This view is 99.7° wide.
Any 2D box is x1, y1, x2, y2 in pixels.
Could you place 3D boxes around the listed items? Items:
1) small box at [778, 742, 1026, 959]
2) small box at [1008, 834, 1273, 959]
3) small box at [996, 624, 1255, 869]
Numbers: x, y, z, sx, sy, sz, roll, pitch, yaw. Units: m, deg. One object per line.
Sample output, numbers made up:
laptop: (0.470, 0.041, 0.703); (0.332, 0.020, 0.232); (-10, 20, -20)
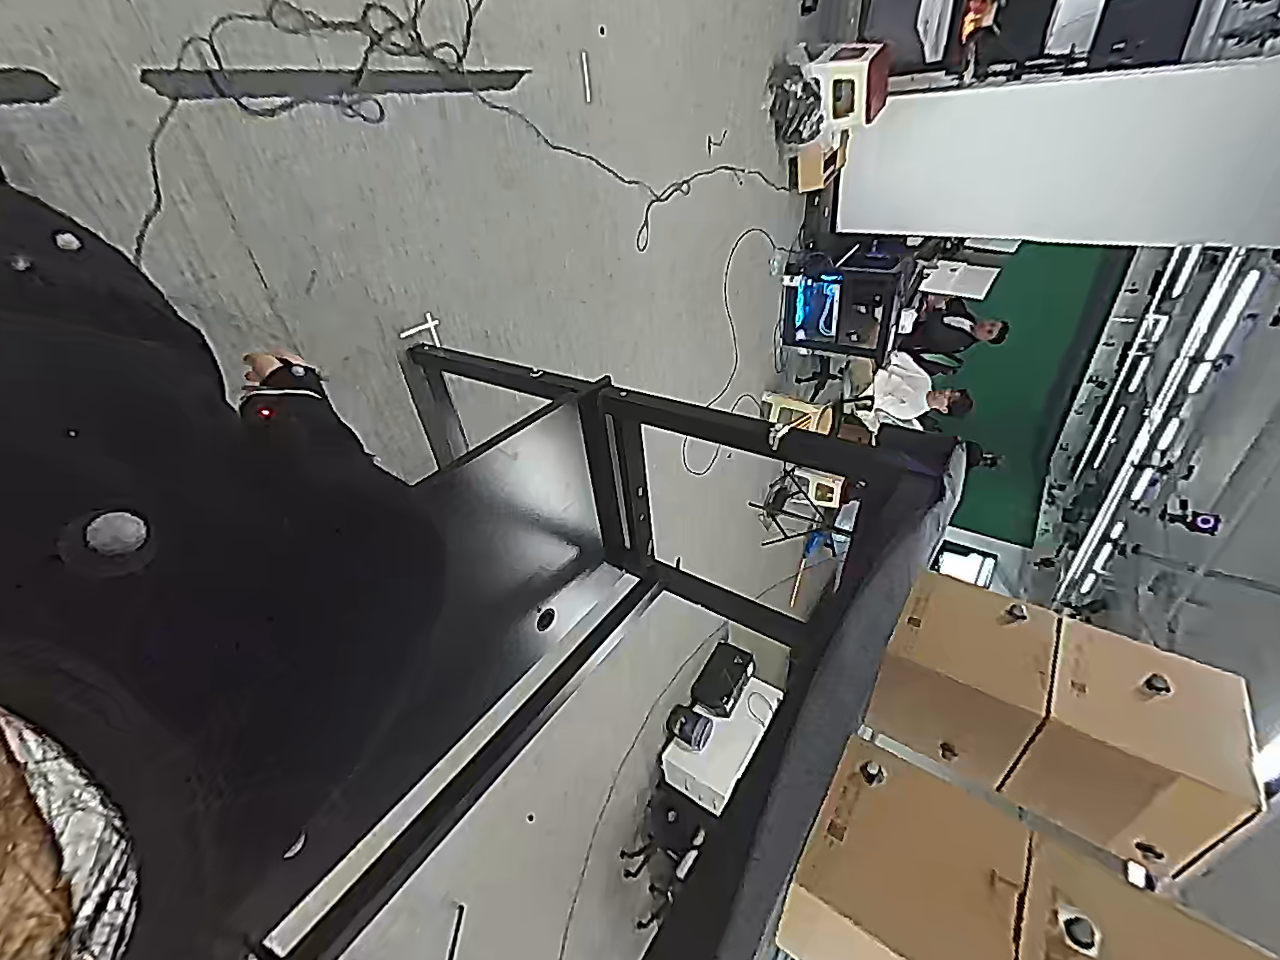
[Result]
small box: (0.250, 0.398, 0.538); (0.168, 0.176, 0.179); (-41, 140, -40)
small box: (0.381, 0.449, 0.457); (0.168, 0.176, 0.179); (-41, 139, -41)
small box: (0.547, 0.296, 0.636); (0.168, 0.176, 0.179); (-41, 140, -39)
